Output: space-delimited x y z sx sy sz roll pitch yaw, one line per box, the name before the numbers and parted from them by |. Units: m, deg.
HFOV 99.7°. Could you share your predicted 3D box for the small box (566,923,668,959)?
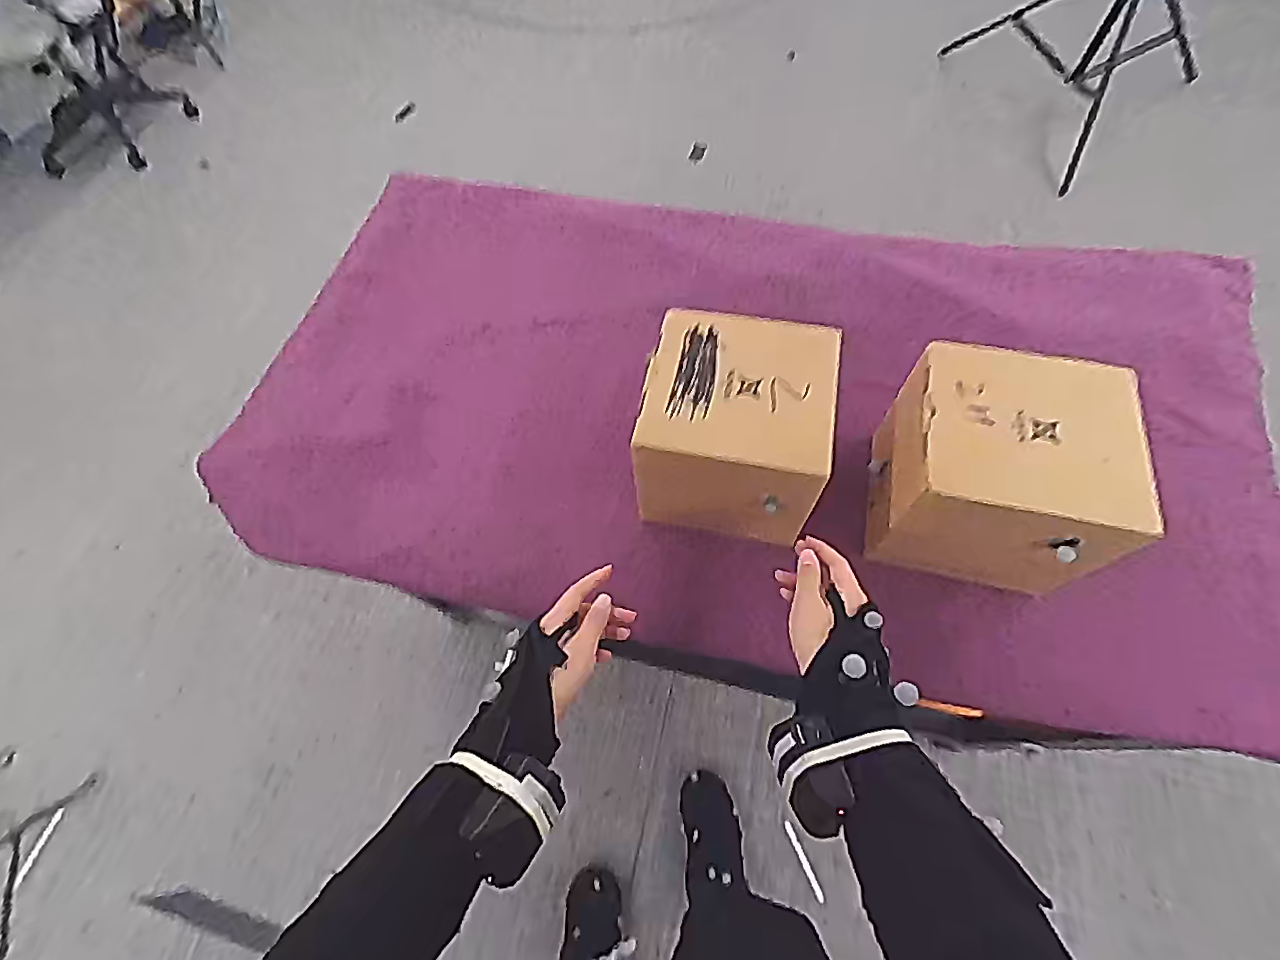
small box | -0.046 0.887 0.923 0.179 0.176 0.168 7 63 -1
